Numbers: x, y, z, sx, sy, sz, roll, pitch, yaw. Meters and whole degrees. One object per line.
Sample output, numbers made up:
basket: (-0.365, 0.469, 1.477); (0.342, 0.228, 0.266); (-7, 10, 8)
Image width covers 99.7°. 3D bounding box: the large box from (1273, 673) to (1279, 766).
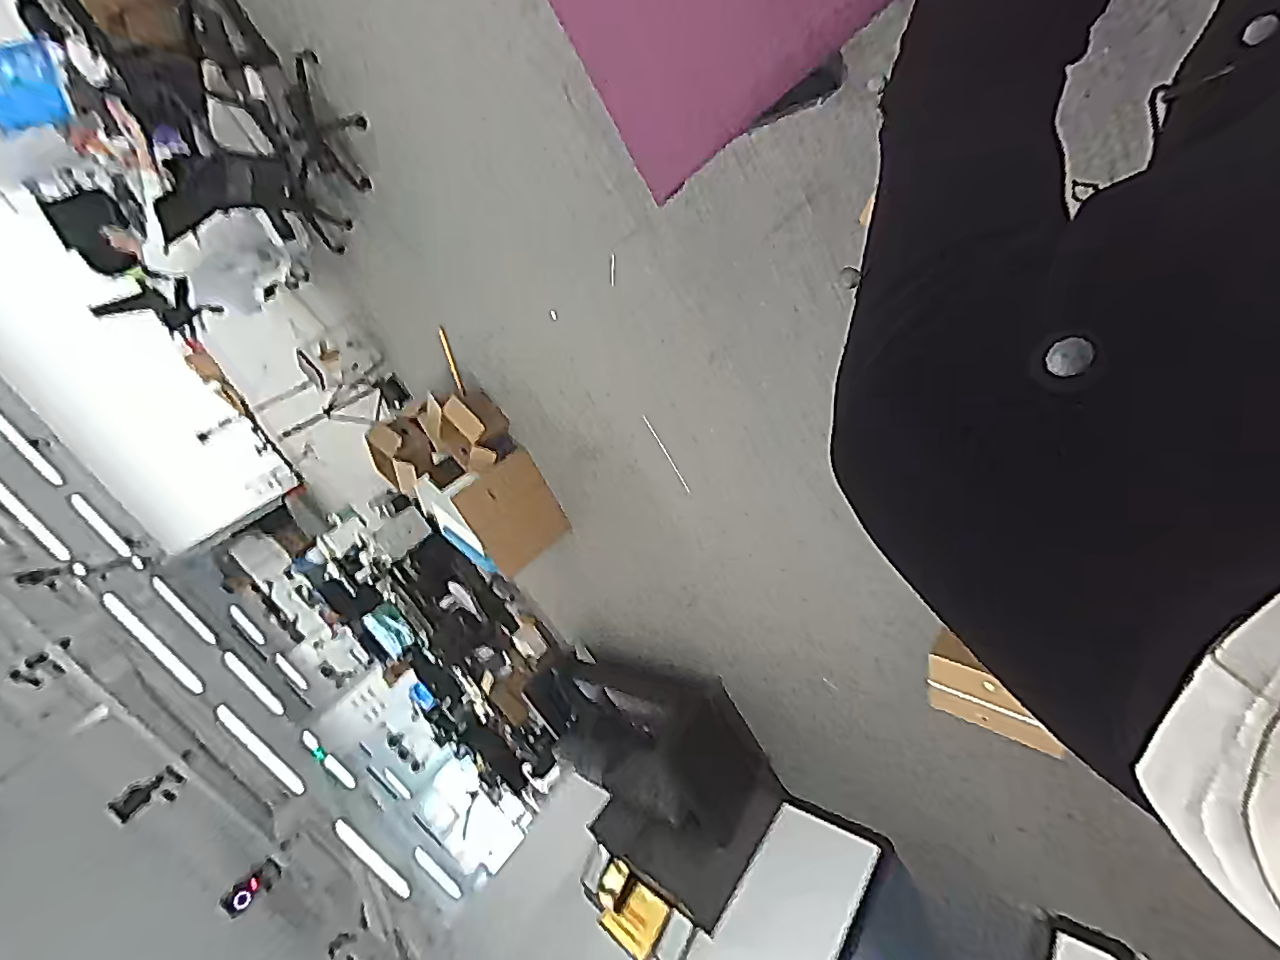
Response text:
large box: (1.839, 0.616, 1.245); (0.320, 0.320, 0.408); (40, 146, 10)
